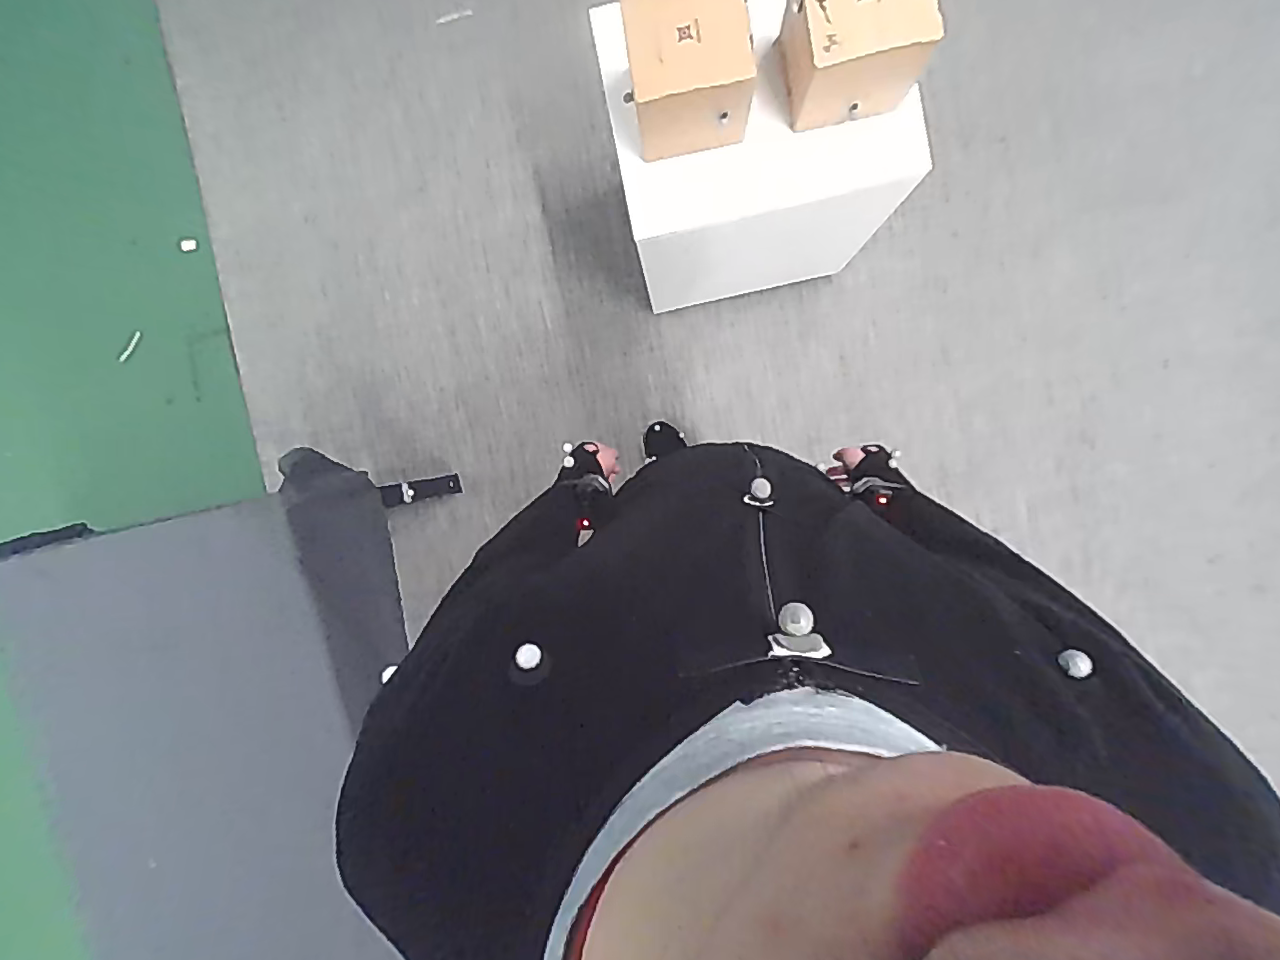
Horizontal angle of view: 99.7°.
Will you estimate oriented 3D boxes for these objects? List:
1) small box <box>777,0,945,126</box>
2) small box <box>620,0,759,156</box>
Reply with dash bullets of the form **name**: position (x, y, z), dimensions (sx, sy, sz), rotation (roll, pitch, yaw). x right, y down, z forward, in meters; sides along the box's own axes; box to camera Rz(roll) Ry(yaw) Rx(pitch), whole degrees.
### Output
- **small box**: position (0.318, -0.670, 0.807), dimensions (0.179, 0.176, 0.168), rotation (-10, 94, 4)
- **small box**: position (0.072, -0.634, 0.827), dimensions (0.179, 0.176, 0.168), rotation (-10, 93, 5)
